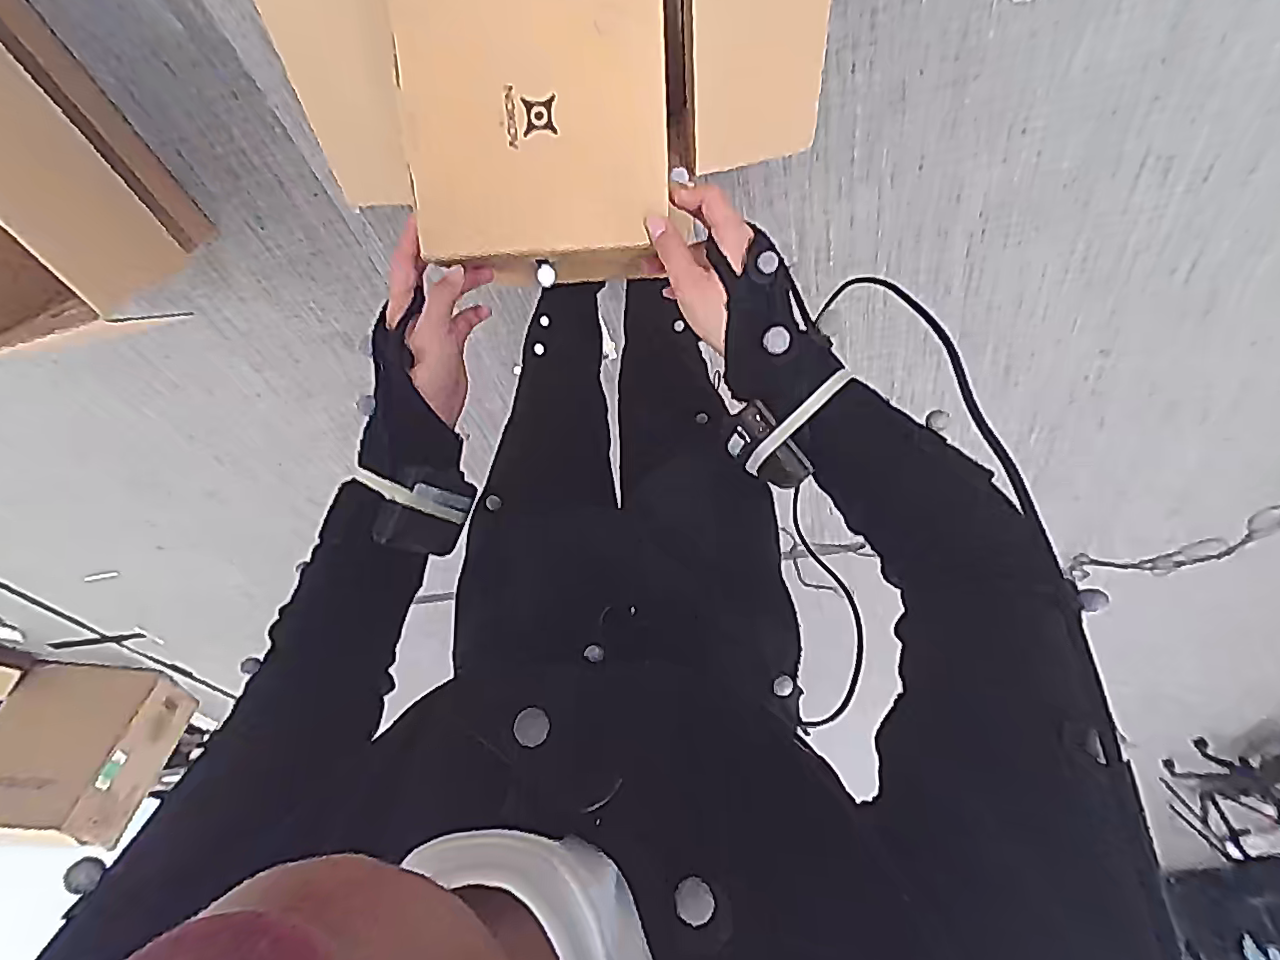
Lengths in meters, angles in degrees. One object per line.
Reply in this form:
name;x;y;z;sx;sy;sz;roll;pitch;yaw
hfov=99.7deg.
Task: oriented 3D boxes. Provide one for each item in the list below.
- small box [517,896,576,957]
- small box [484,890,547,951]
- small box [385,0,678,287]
small box;-0.368;1.775;2.147;0.179;0.176;0.168;-10;134;12
small box;-0.449;1.620;1.989;0.179;0.176;0.168;-6;137;8
small box;-0.063;-0.248;0.421;0.179;0.176;0.168;-2;104;4
